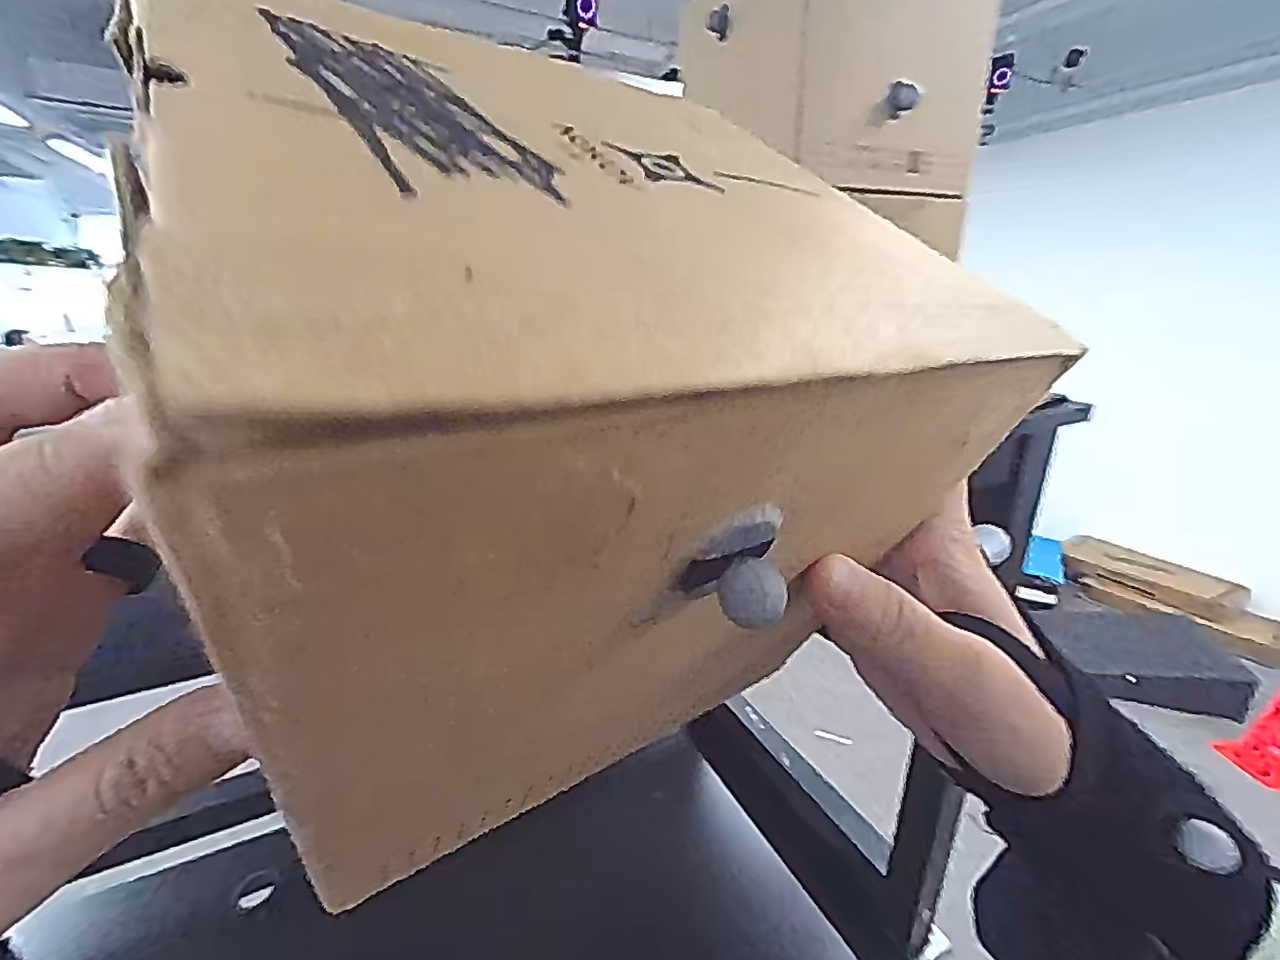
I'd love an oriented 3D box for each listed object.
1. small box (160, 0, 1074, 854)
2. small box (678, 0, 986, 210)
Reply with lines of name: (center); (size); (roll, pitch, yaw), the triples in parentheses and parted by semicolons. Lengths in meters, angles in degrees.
small box: (-0.023, -0.015, 0.183); (0.179, 0.176, 0.168); (-13, 53, -34)
small box: (0.139, -0.313, 0.441); (0.168, 0.176, 0.179); (-10, 21, -21)
